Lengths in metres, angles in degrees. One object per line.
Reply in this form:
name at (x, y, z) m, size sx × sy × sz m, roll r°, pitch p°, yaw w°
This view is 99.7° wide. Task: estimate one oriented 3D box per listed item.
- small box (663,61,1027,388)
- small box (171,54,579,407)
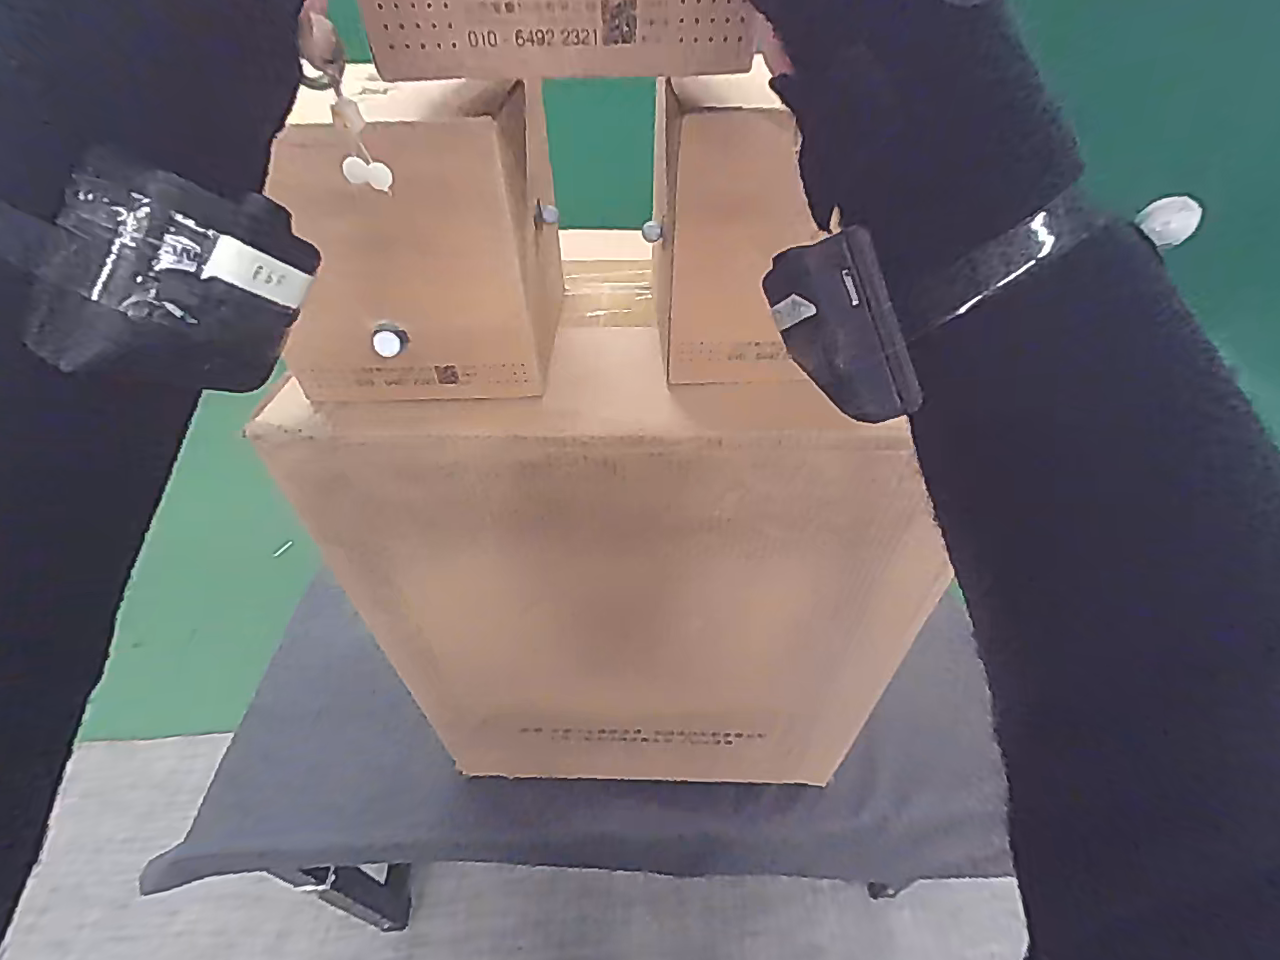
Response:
small box at (0.109, -0.178, 0.383) m, size 0.168 × 0.176 × 0.179 m, roll -1°, pitch 45°, yaw -5°
small box at (-0.136, -0.169, 0.365) m, size 0.168 × 0.176 × 0.179 m, roll 1°, pitch 46°, yaw 2°
